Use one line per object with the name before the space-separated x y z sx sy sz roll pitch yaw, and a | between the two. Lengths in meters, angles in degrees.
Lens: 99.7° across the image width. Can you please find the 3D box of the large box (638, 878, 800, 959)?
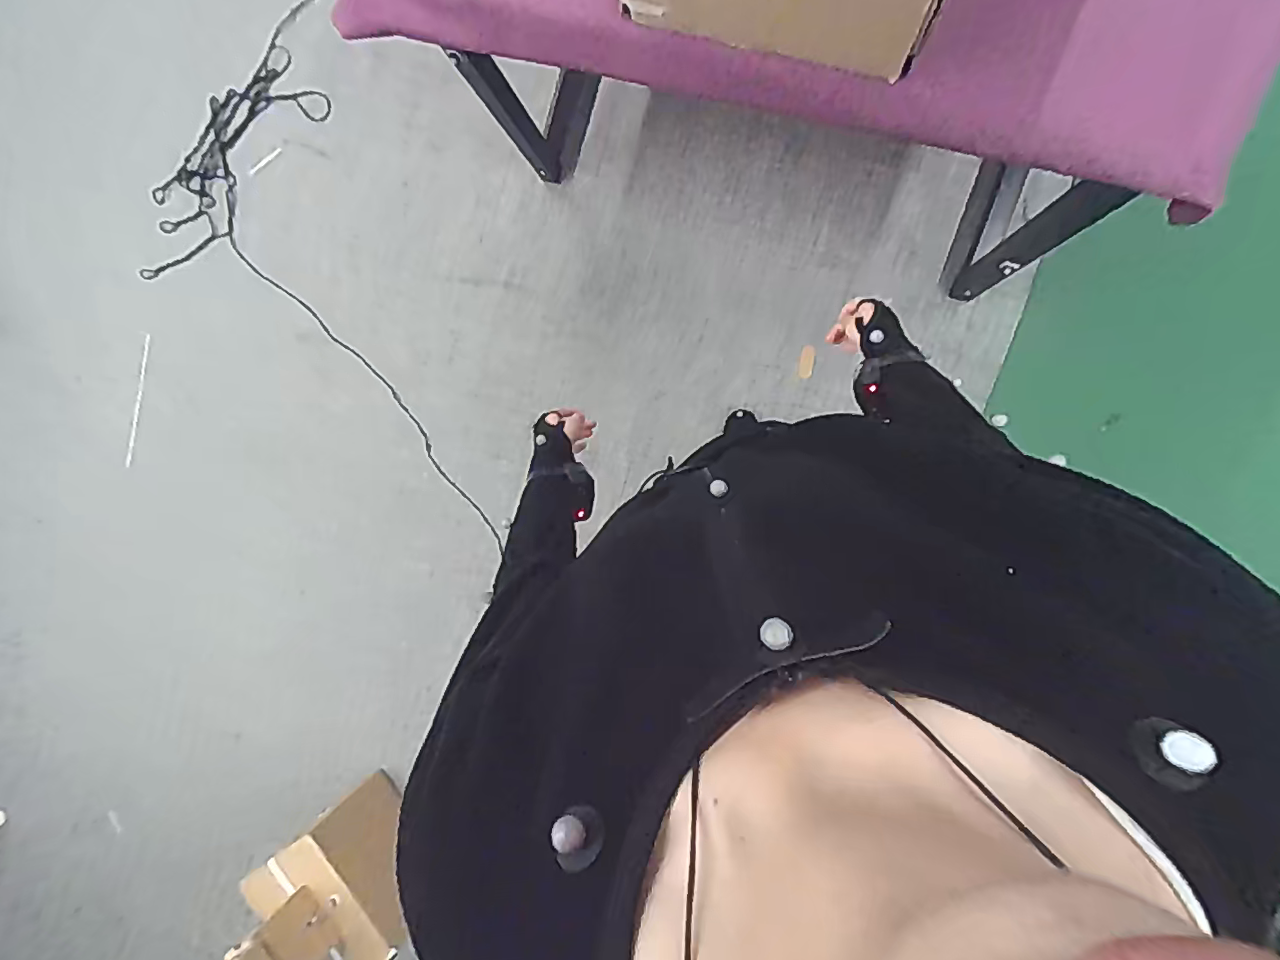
large box | 0.202 1.339 1.432 0.408 0.320 0.320 4 95 8

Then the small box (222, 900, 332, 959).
small box | -0.939 1.225 1.376 0.168 0.176 0.179 -43 85 11
